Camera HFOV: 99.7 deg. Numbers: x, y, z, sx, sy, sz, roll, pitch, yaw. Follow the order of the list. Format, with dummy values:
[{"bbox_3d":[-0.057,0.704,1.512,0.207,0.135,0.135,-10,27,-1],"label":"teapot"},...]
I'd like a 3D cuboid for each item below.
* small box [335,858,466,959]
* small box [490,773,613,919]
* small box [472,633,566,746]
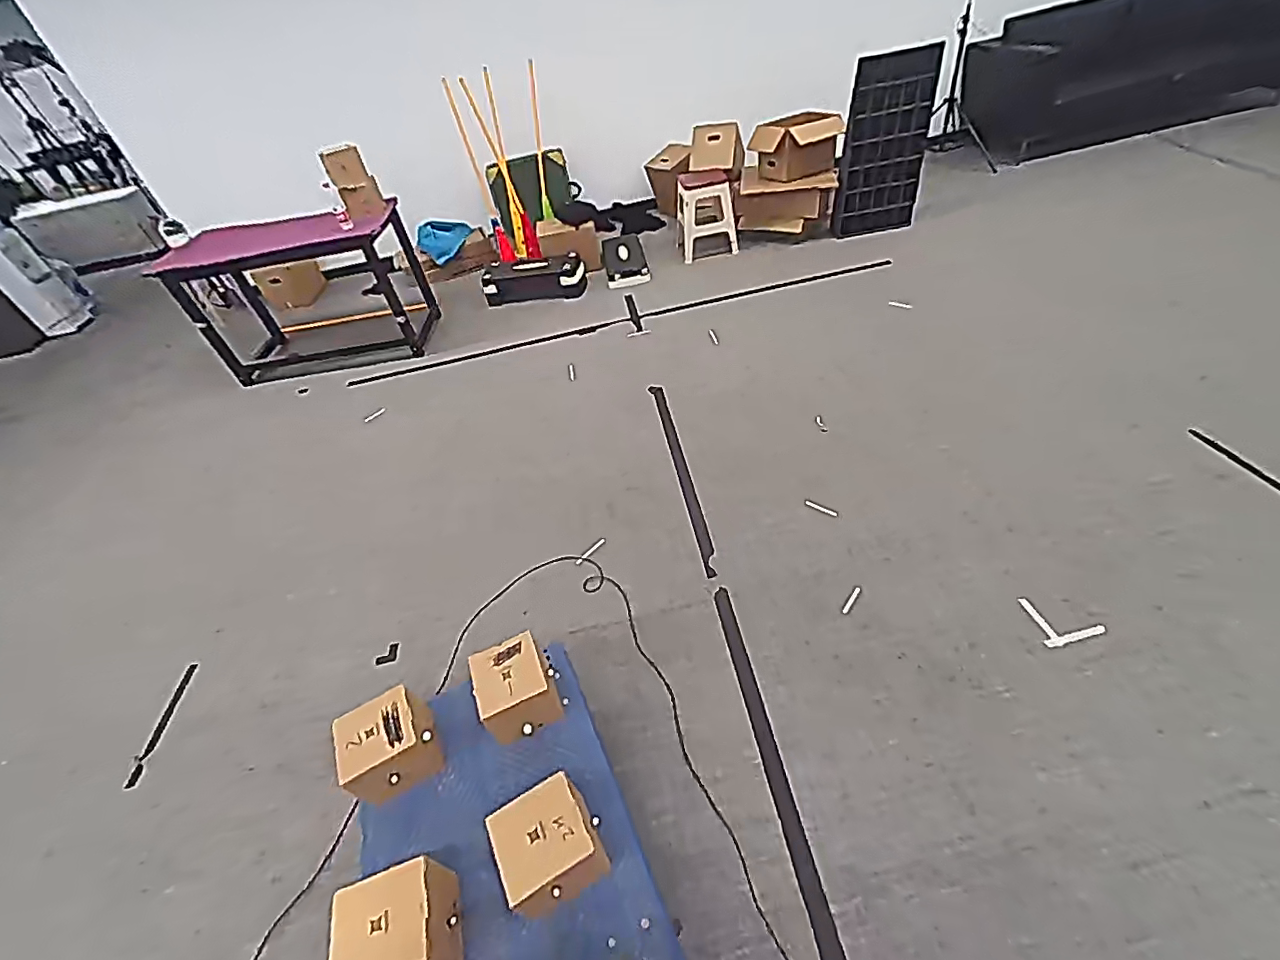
[{"bbox_3d":[-0.450,0.866,1.028,0.179,0.176,0.168,-19,43,-10],"label":"small box"},{"bbox_3d":[-0.175,0.743,1.093,0.179,0.176,0.168,-27,45,-15],"label":"small box"},{"bbox_3d":[-0.301,0.524,1.352,0.168,0.176,0.179,-23,45,-11],"label":"small box"}]
